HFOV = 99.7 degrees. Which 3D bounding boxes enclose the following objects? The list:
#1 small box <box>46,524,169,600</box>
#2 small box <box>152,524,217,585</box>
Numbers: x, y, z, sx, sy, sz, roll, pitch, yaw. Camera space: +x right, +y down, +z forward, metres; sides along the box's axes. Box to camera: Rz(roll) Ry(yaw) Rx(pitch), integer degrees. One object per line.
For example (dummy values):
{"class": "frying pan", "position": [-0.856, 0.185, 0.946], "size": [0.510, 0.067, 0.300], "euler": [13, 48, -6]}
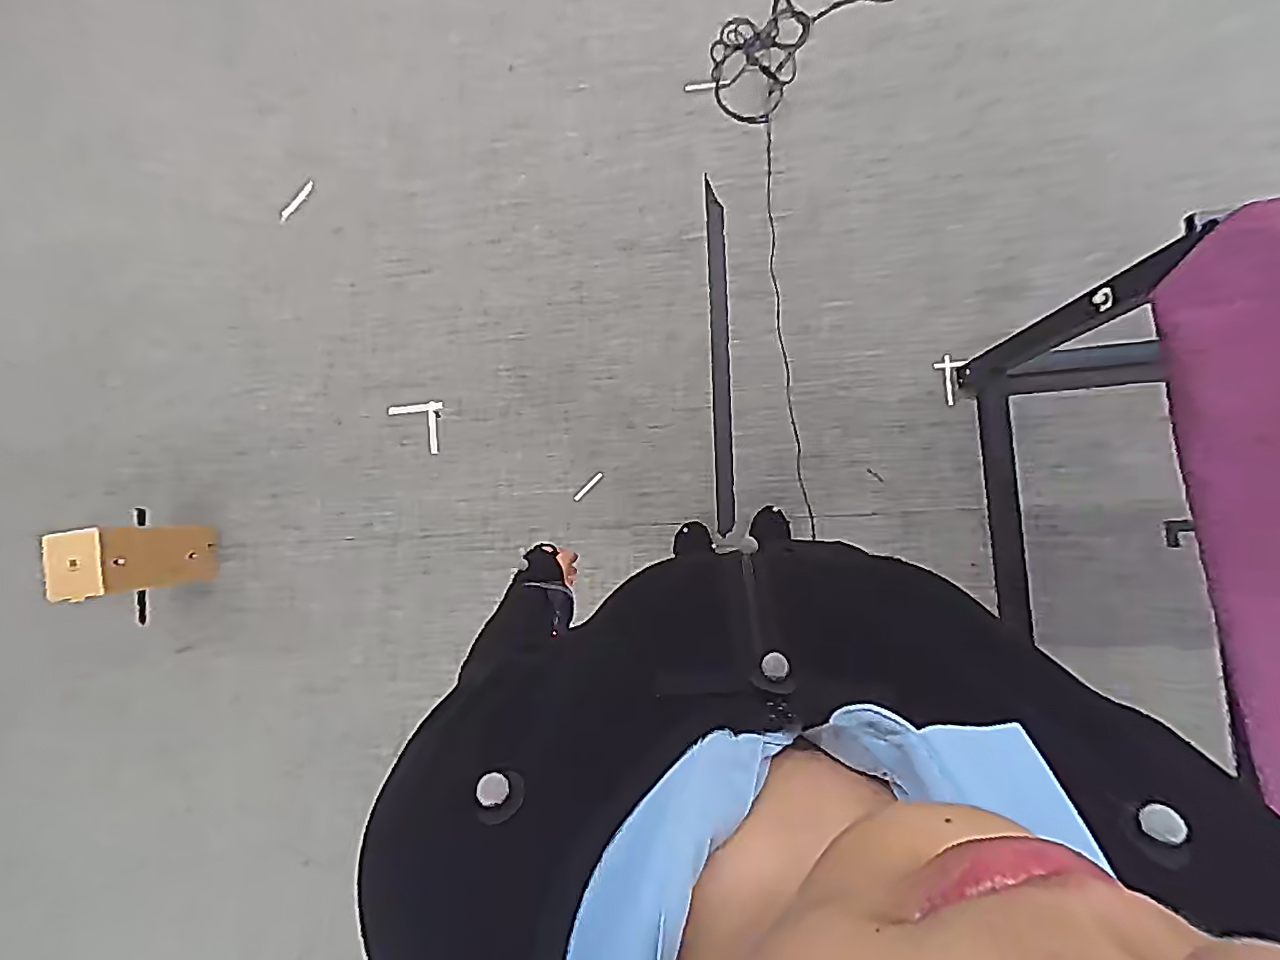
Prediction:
{"class": "small box", "position": [-1.422, 0.214, 1.452], "size": [0.168, 0.176, 0.179], "euler": [-9, 87, 6]}
{"class": "small box", "position": [-1.412, 0.217, 1.615], "size": [0.179, 0.176, 0.168], "euler": [0, 87, 7]}
